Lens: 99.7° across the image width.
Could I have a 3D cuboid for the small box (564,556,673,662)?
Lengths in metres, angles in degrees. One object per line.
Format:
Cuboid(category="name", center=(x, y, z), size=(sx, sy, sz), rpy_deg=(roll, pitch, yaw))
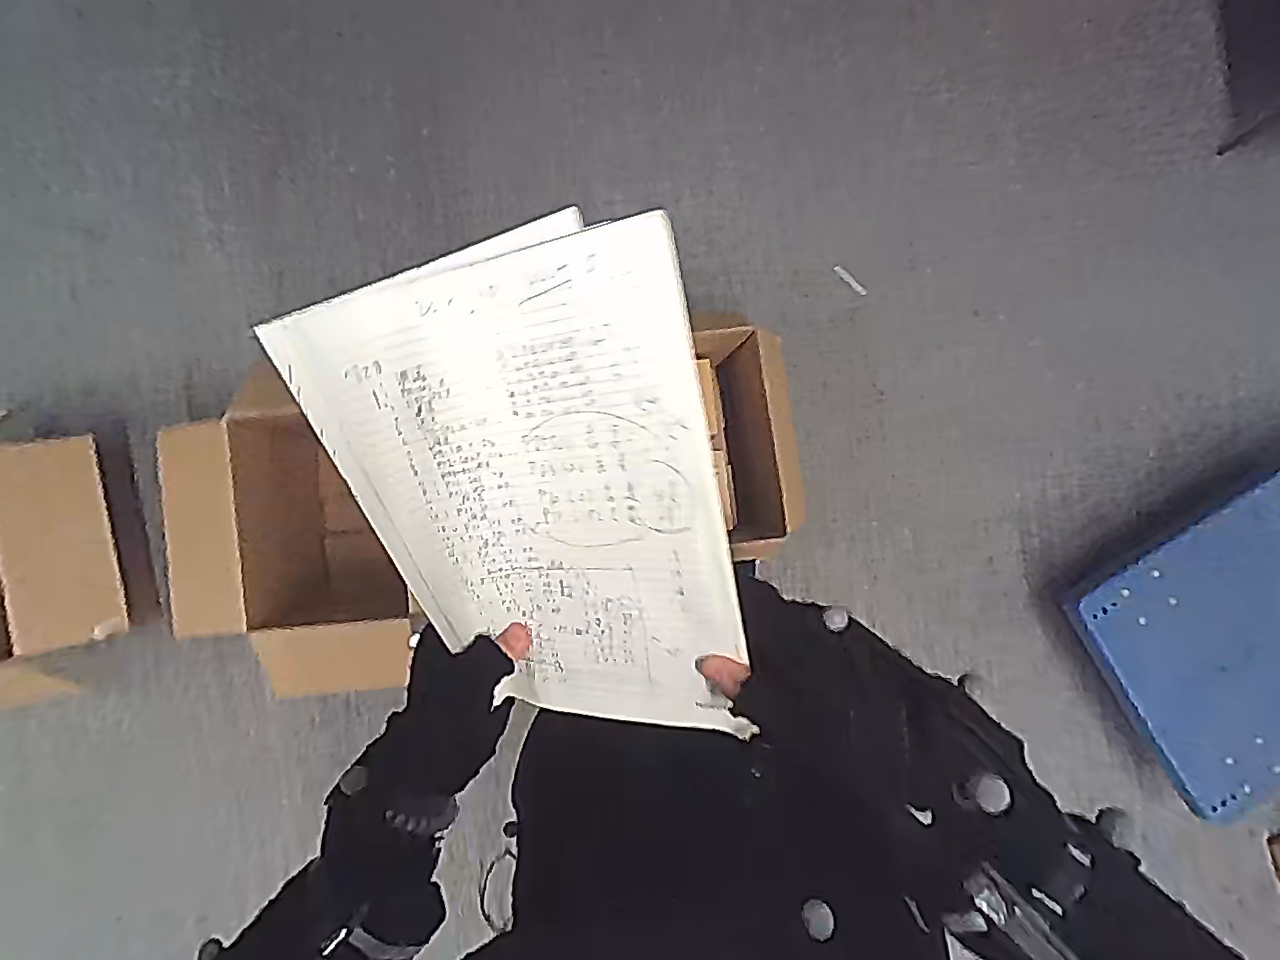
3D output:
Cuboid(category="small box", center=(-0.052, 0.291, 1.250), size=(0.168, 0.176, 0.179), rpy_deg=(-41, 72, 8))
